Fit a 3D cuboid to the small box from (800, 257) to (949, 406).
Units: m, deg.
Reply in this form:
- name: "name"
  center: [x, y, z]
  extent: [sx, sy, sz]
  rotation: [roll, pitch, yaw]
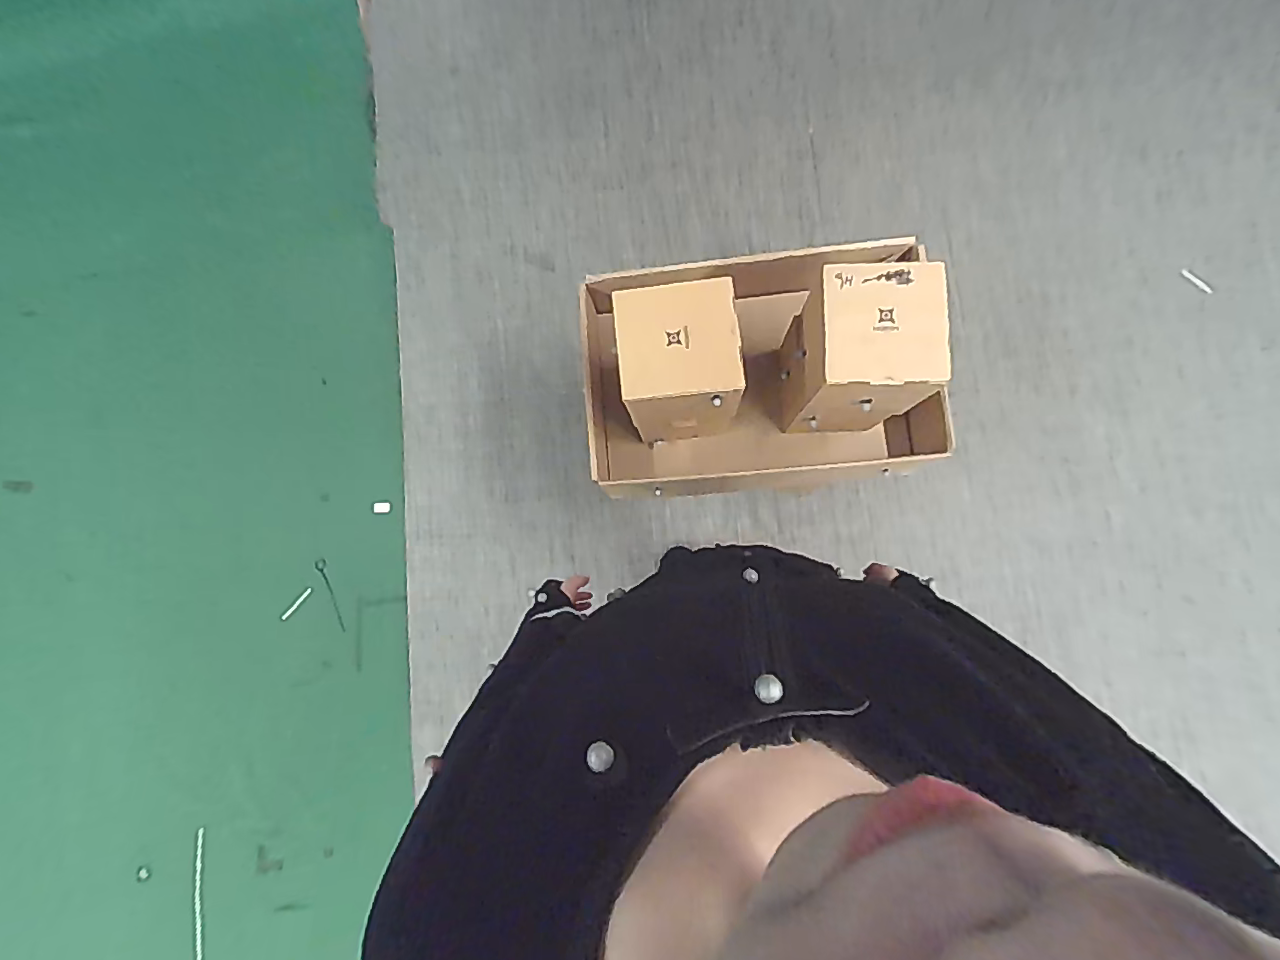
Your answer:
- name: "small box"
  center: [0.342, -0.213, 0.814]
  extent: [0.168, 0.176, 0.179]
  rotation: [2, 85, 6]

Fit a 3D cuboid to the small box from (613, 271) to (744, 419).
- name: "small box"
  center: [0.060, -0.199, 0.843]
  extent: [0.179, 0.176, 0.168]
  rotation: [-6, 83, 4]
